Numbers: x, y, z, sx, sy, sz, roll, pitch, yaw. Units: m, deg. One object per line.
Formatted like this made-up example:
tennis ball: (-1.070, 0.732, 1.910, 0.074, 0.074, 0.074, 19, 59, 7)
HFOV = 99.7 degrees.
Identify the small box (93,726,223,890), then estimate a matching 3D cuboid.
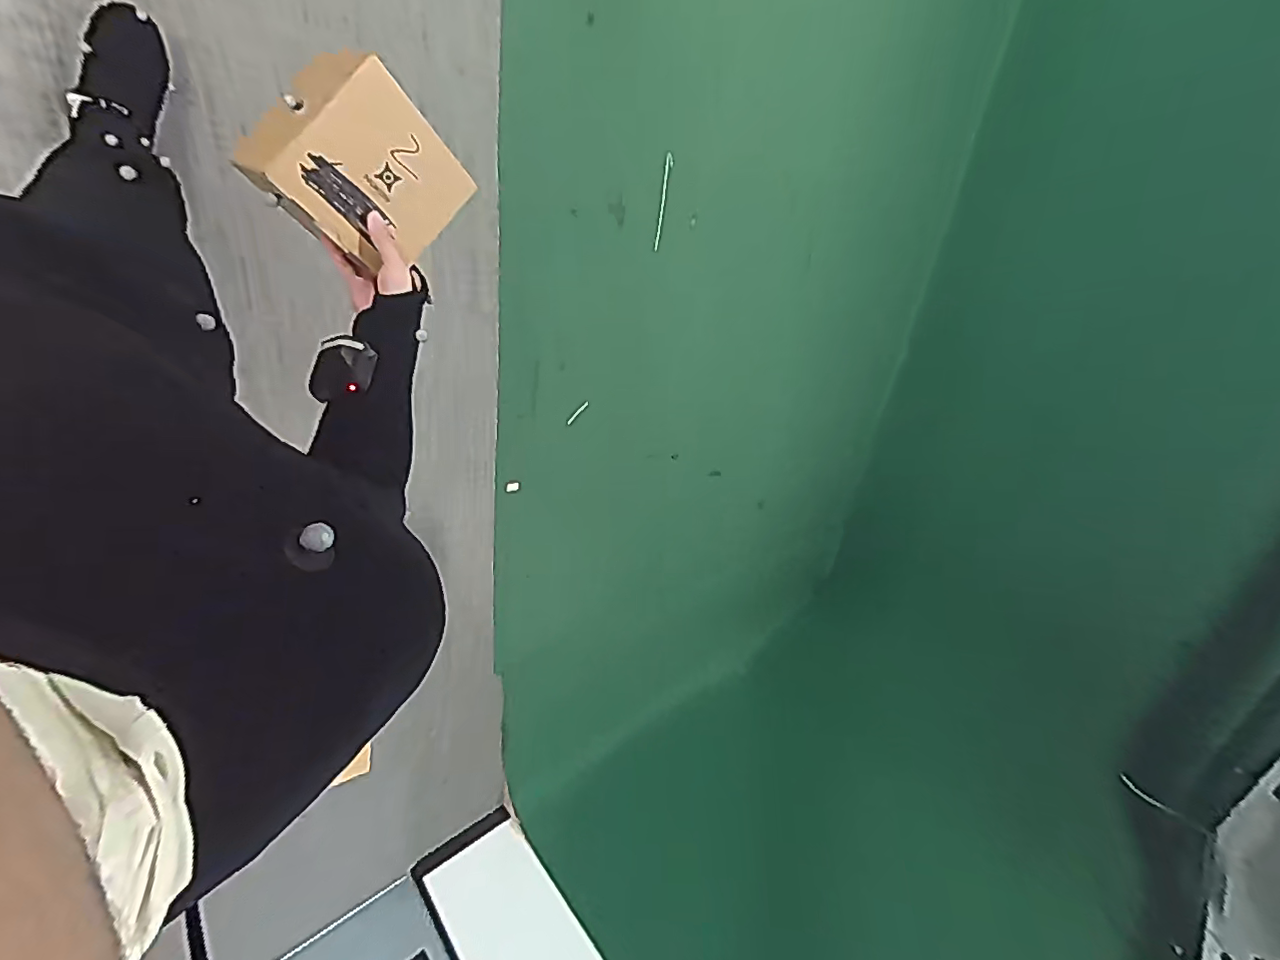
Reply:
small box: (-0.902, 0.597, 1.015, 0.168, 0.176, 0.179, -7, 118, -43)
